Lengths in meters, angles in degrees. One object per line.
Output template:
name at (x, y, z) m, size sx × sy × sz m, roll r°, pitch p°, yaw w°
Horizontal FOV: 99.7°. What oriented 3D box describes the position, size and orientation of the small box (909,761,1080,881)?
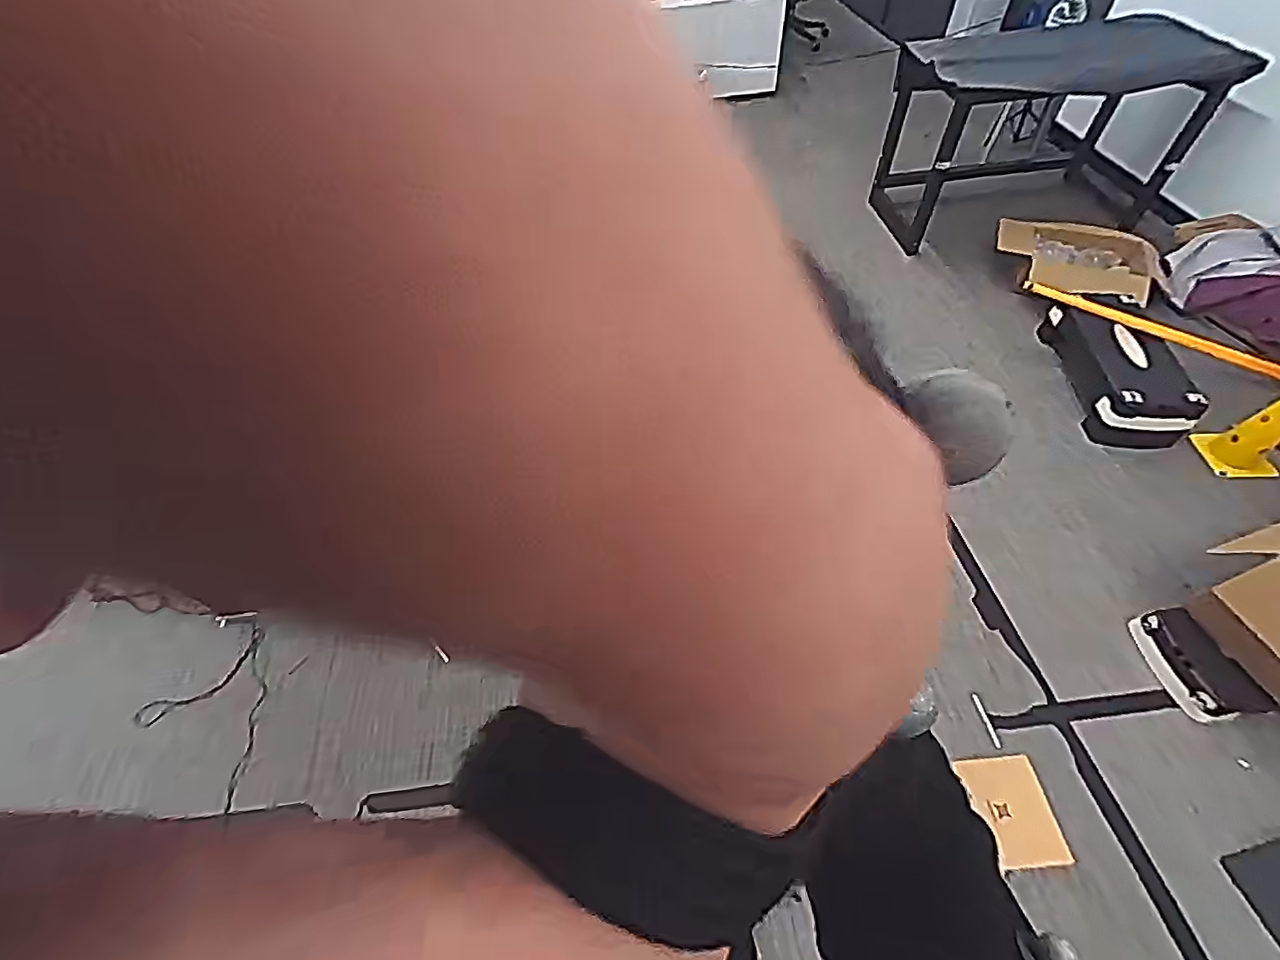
small box at (0.631, 0.623, 0.990) m, size 0.179 × 0.176 × 0.168 m, roll -6°, pitch 54°, yaw 0°
